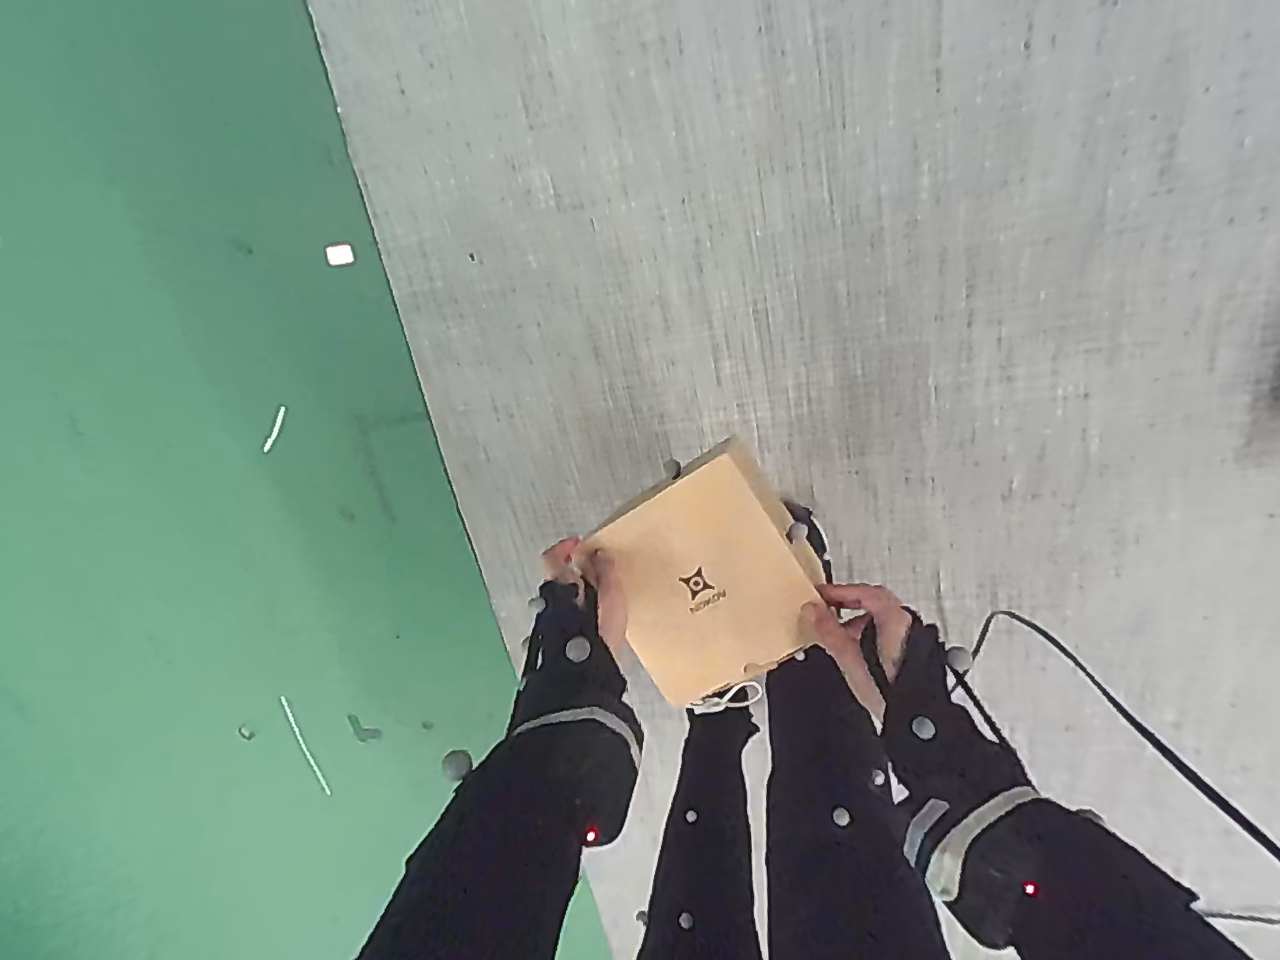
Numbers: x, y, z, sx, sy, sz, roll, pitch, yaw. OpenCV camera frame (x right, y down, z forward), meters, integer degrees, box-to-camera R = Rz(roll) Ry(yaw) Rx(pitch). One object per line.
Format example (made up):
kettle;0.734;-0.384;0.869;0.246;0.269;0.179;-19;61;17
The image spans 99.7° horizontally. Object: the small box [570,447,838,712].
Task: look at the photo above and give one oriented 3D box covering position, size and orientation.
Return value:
small box;0.064;0.080;0.532;0.168;0.176;0.179;-34;92;15
